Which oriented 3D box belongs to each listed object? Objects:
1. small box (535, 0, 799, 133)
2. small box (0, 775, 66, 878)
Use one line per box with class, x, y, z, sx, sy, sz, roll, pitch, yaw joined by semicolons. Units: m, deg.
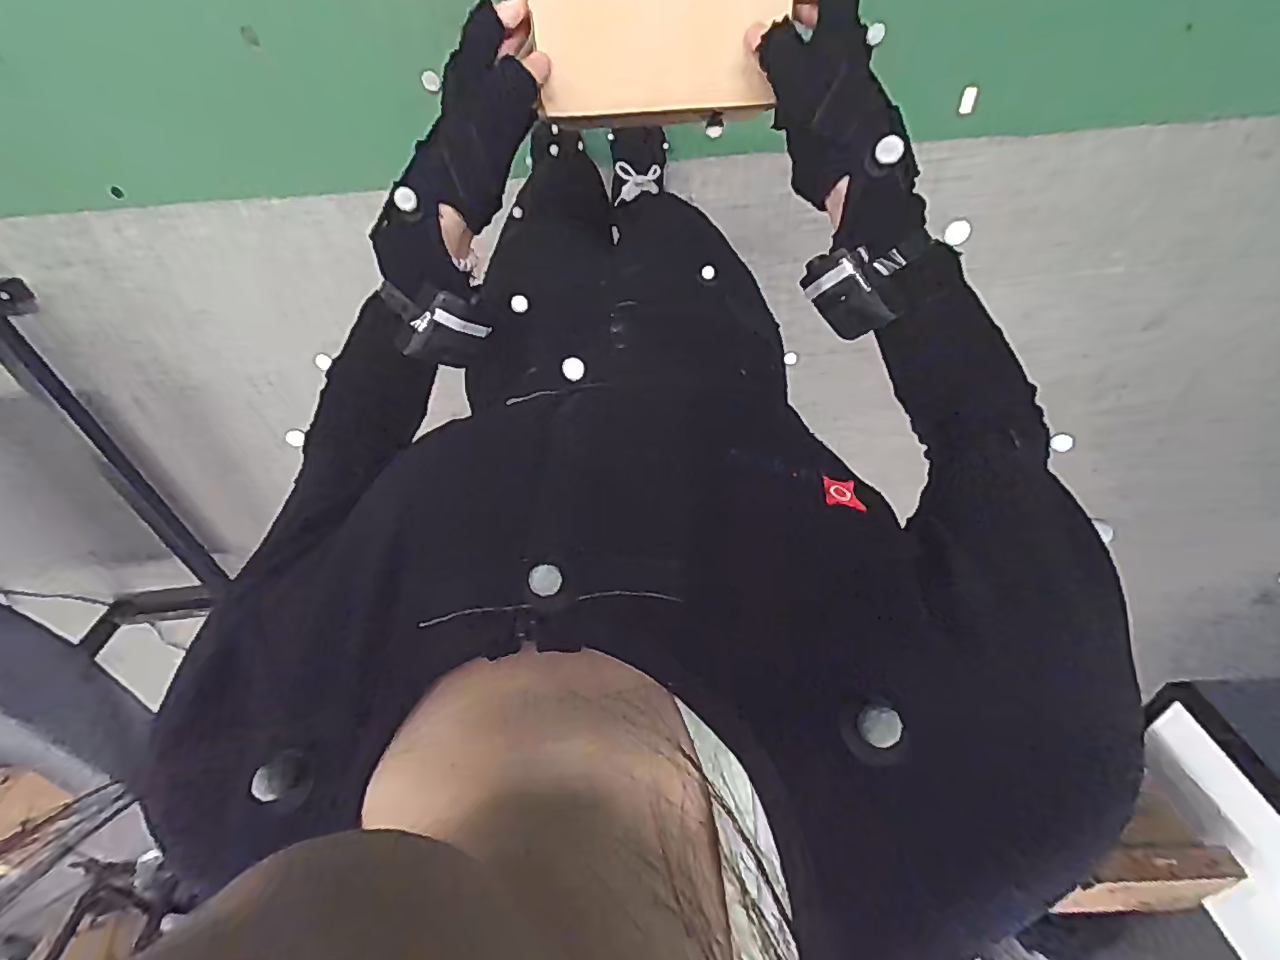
small box;0.015;-0.370;0.414;0.179;0.176;0.168;-3;120;1
small box;-1.531;0.804;1.257;0.168;0.176;0.179;-3;129;-2
